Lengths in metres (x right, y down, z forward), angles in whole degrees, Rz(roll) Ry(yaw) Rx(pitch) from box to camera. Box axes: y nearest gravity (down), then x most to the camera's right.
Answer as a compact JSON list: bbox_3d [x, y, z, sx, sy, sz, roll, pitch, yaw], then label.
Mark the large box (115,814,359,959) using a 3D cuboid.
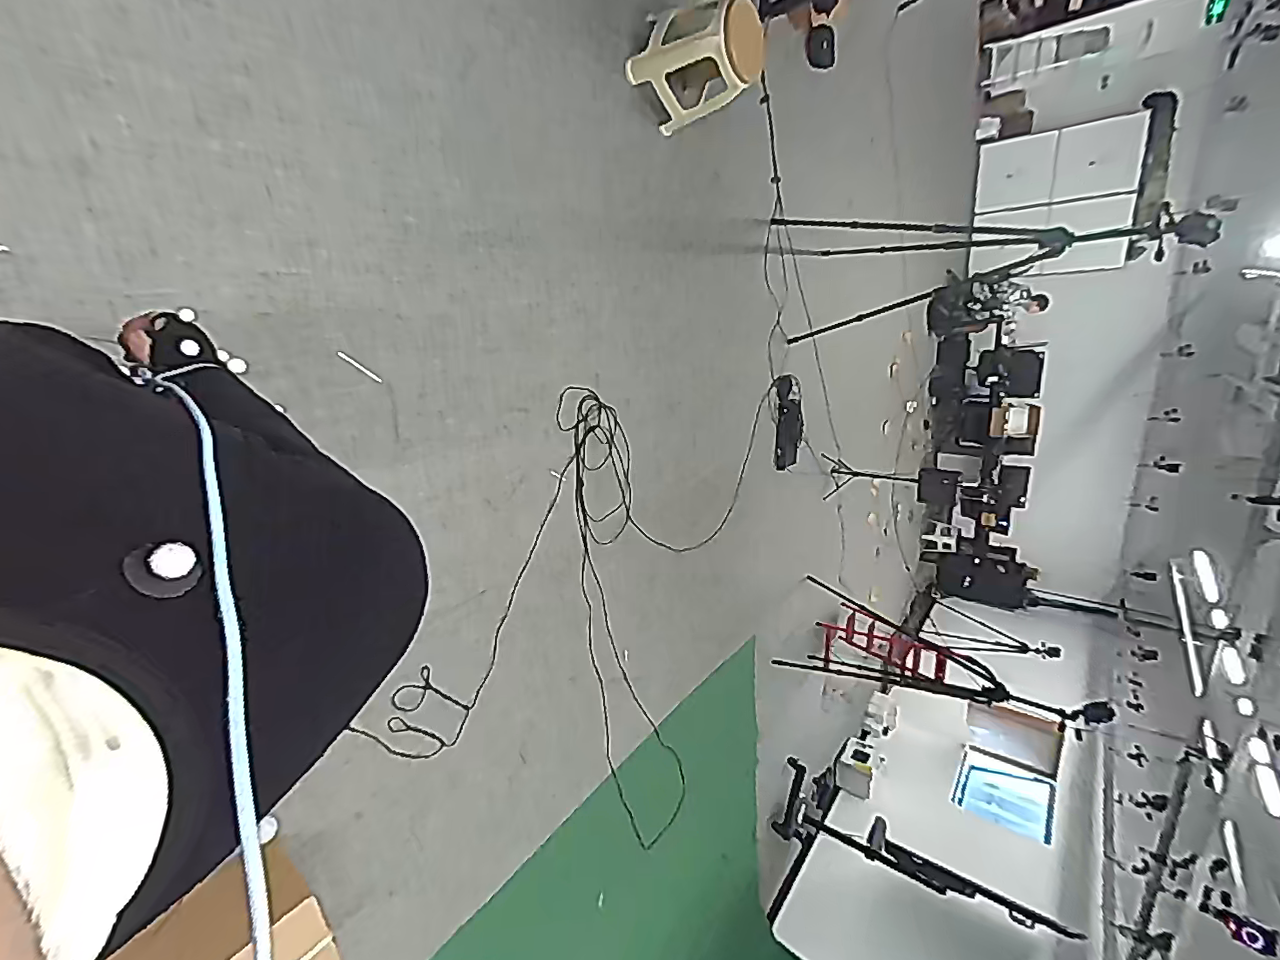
[{"bbox_3d":[-1.038,1.207,1.420,0.408,0.320,0.320,-26,116,-45],"label":"large box"}]
